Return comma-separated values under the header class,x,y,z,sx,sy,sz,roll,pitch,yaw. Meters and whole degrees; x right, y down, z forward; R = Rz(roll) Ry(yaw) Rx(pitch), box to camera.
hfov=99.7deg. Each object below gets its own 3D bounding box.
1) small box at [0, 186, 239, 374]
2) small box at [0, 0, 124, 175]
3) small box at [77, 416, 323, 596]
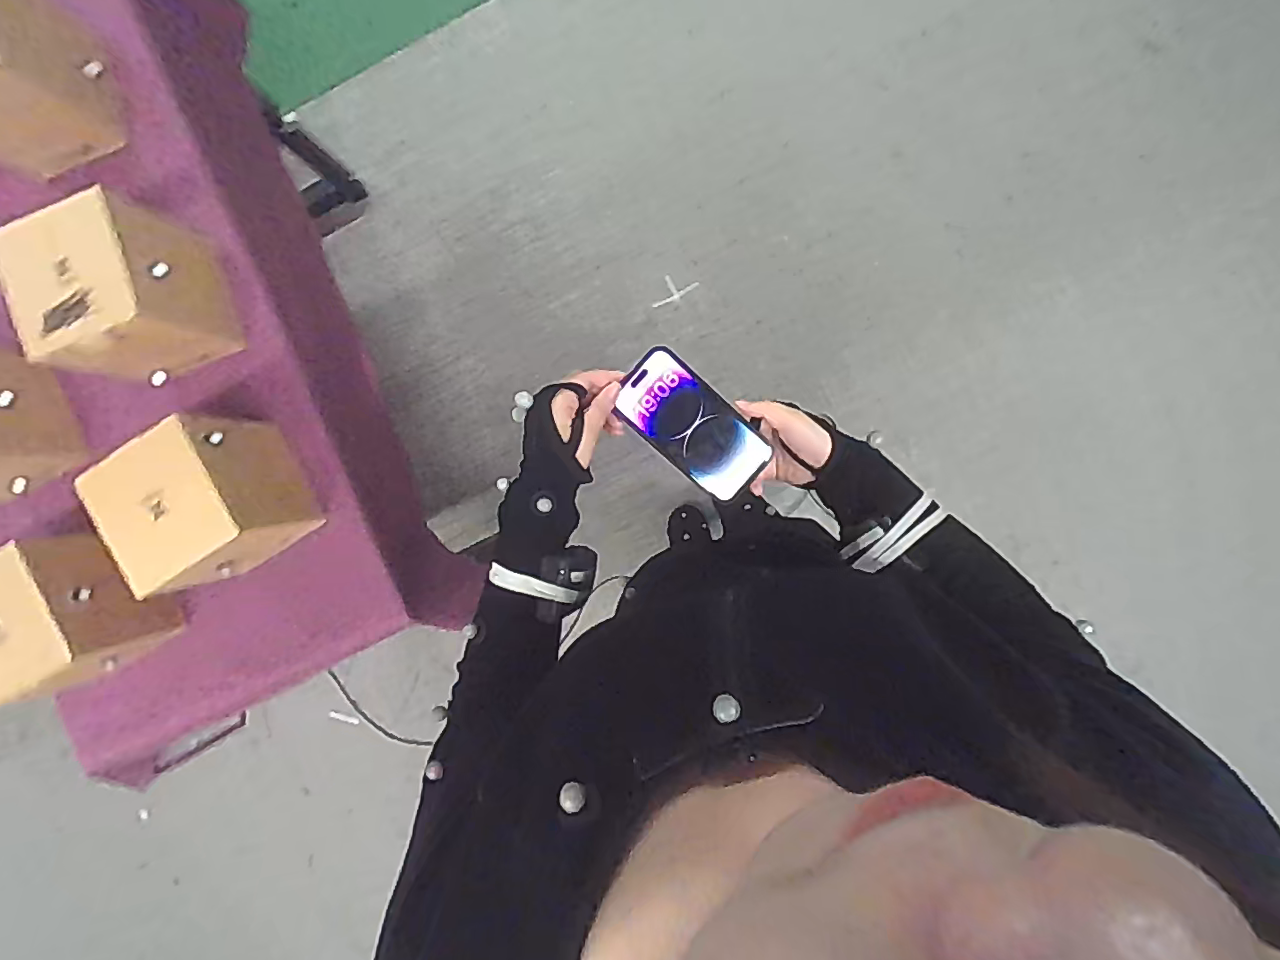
class,x,y,z,sx,sy,sz,roll,pitch,yaw
small box,-0.711,-0.259,0.753,0.168,0.176,0.179,-19,89,5
small box,-0.900,-0.578,0.762,0.168,0.176,0.179,-18,89,5
small box,-0.590,0.030,0.751,0.168,0.176,0.179,-31,87,5
